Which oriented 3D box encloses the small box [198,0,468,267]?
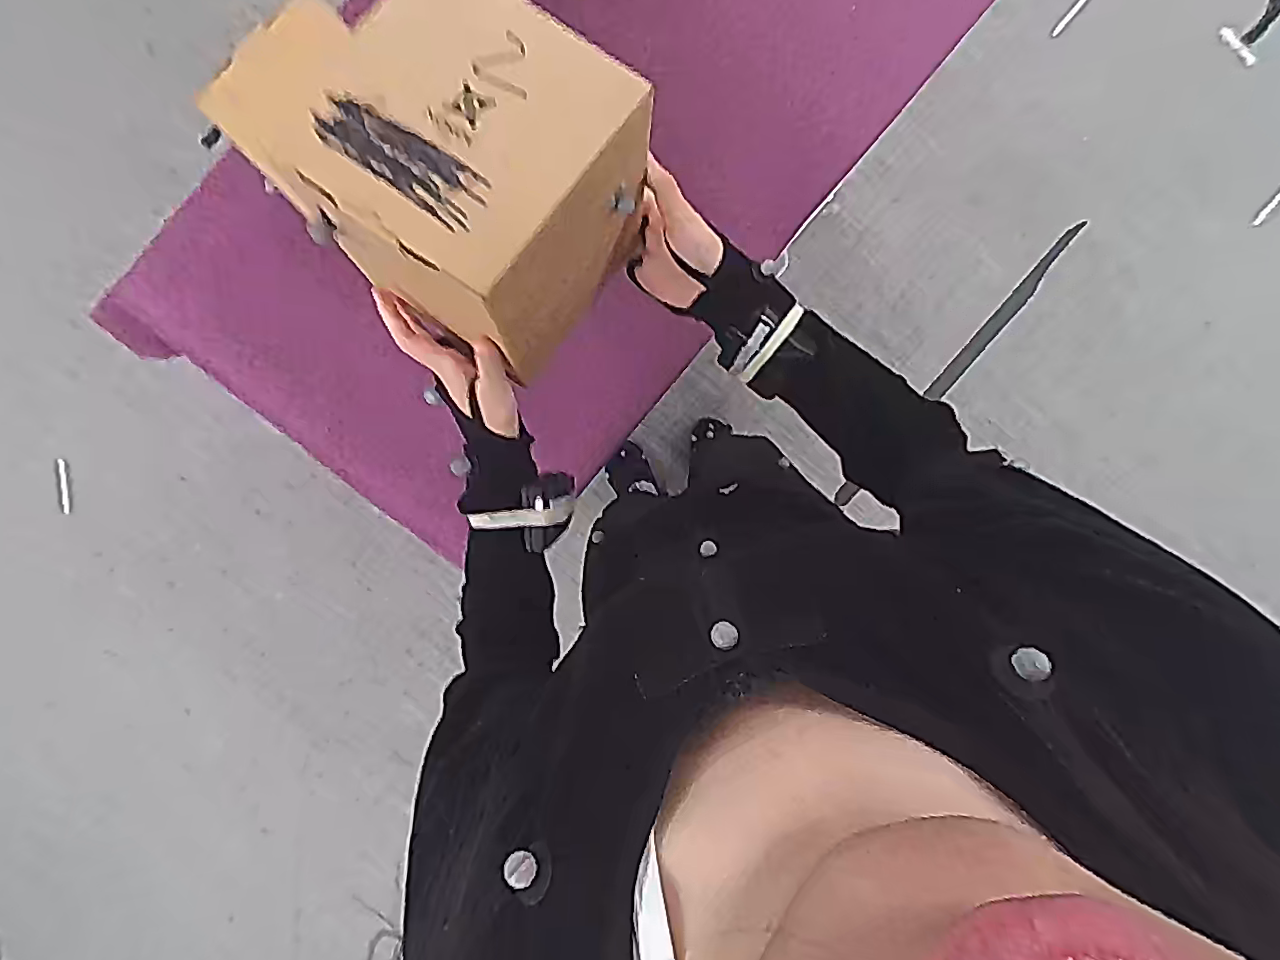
[{"bbox_3d":[-0.333,-0.382,0.628,0.168,0.176,0.179,-44,98,2],"label":"small box"}]
